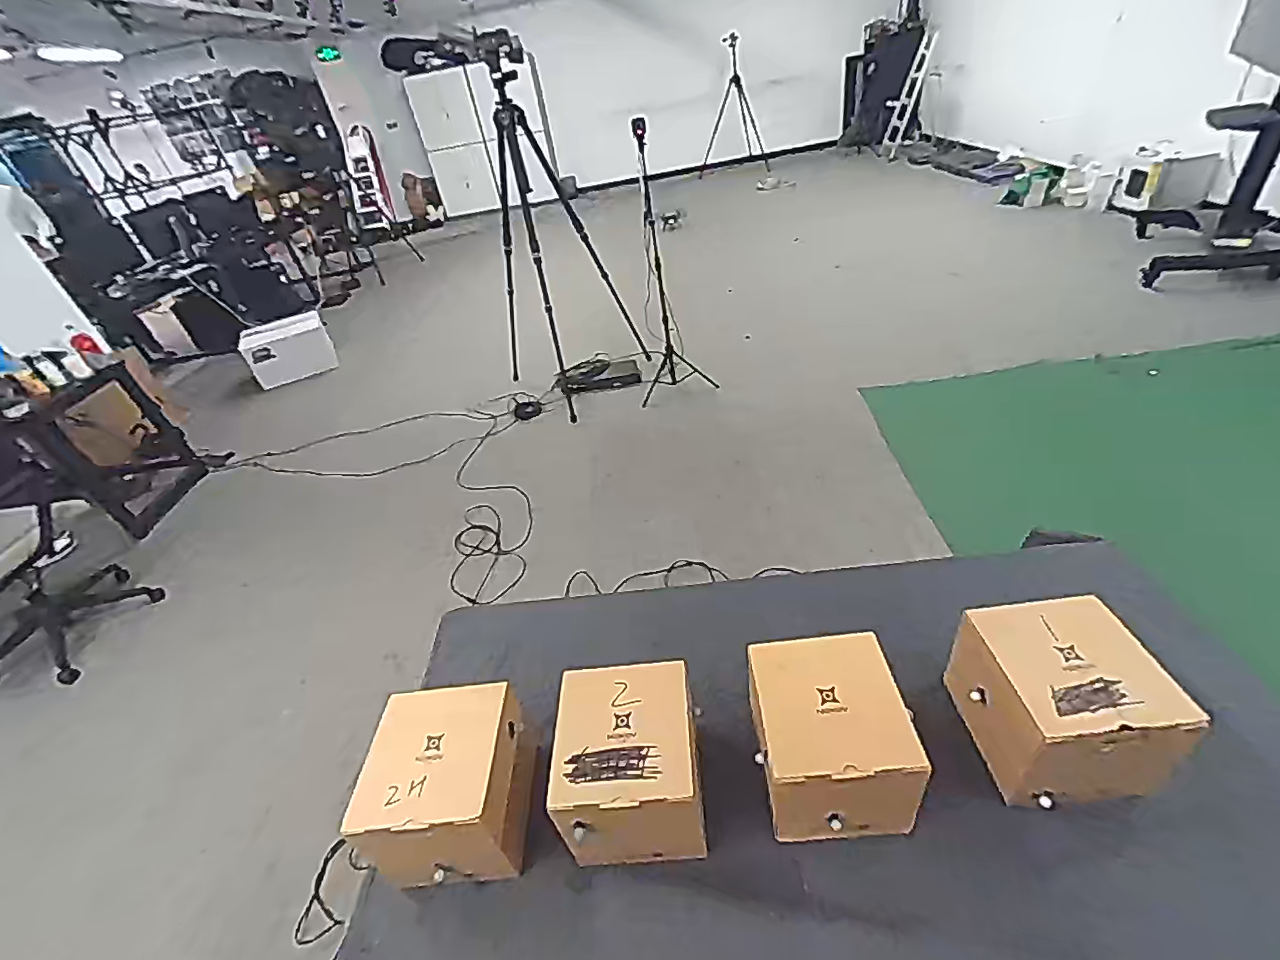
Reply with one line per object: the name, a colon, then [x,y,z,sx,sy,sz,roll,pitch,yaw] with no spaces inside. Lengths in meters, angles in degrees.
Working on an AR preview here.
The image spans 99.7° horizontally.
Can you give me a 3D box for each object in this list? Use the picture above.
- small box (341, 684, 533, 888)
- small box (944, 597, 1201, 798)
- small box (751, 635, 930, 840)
small box: [-0.246,0.398,0.709,0.168,0.176,0.179,-7,36,3]
small box: [0.515,0.277,0.680,0.168,0.176,0.179,-8,36,4]
small box: [0.237,0.326,0.691,0.168,0.176,0.179,-8,38,4]
